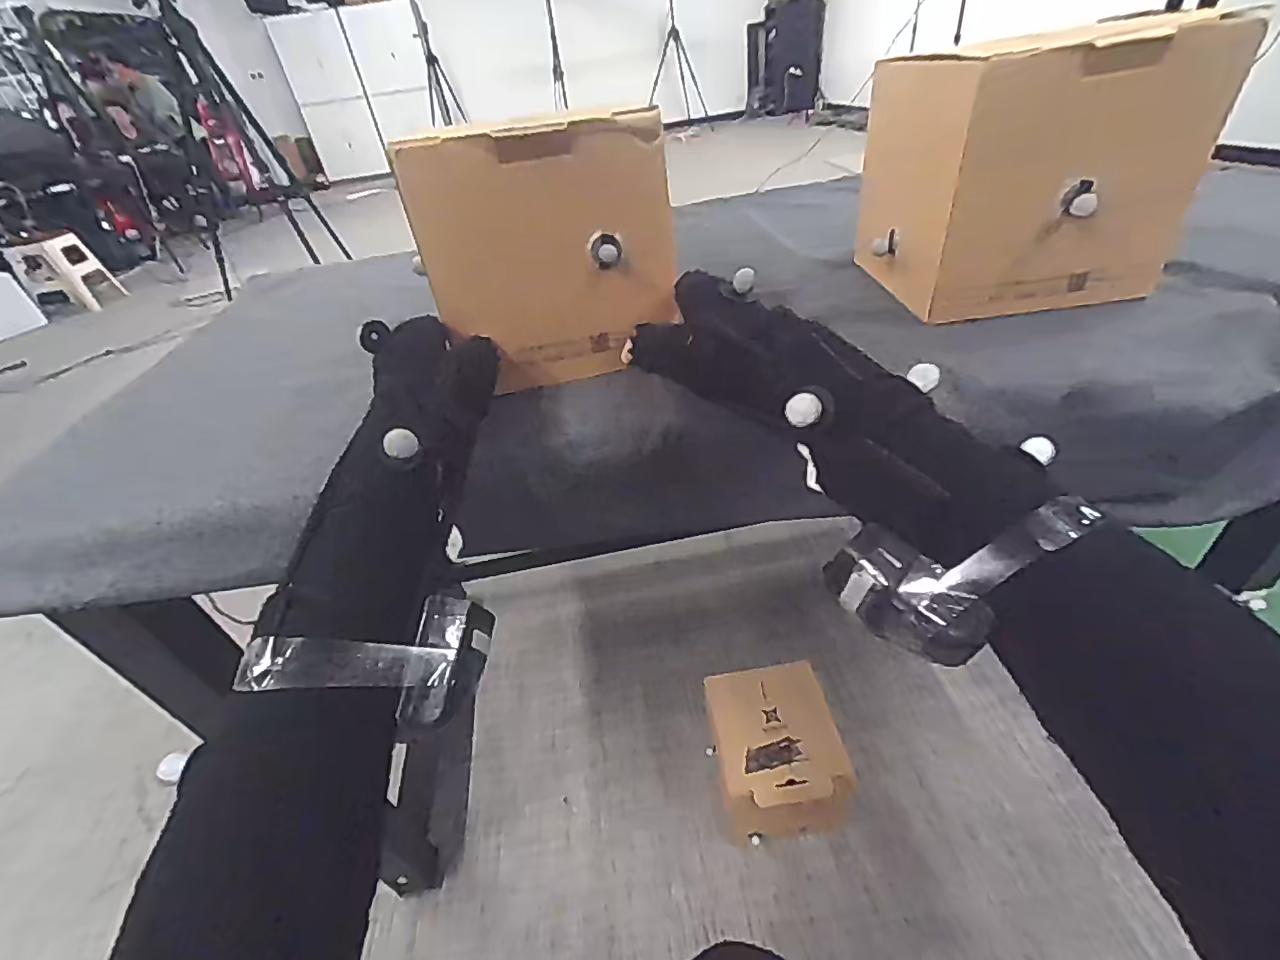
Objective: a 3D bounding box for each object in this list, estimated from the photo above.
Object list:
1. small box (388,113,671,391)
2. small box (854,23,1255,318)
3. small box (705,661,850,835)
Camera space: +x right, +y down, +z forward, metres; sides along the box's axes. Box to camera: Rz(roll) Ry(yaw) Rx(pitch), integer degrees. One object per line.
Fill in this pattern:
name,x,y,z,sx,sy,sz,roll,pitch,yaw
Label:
small box,-0.077,-0.182,0.435,0.168,0.176,0.179,-12,35,-7
small box,0.286,-0.238,0.431,0.168,0.176,0.179,-7,38,3
small box,0.199,0.407,0.814,0.168,0.176,0.179,-9,36,1
